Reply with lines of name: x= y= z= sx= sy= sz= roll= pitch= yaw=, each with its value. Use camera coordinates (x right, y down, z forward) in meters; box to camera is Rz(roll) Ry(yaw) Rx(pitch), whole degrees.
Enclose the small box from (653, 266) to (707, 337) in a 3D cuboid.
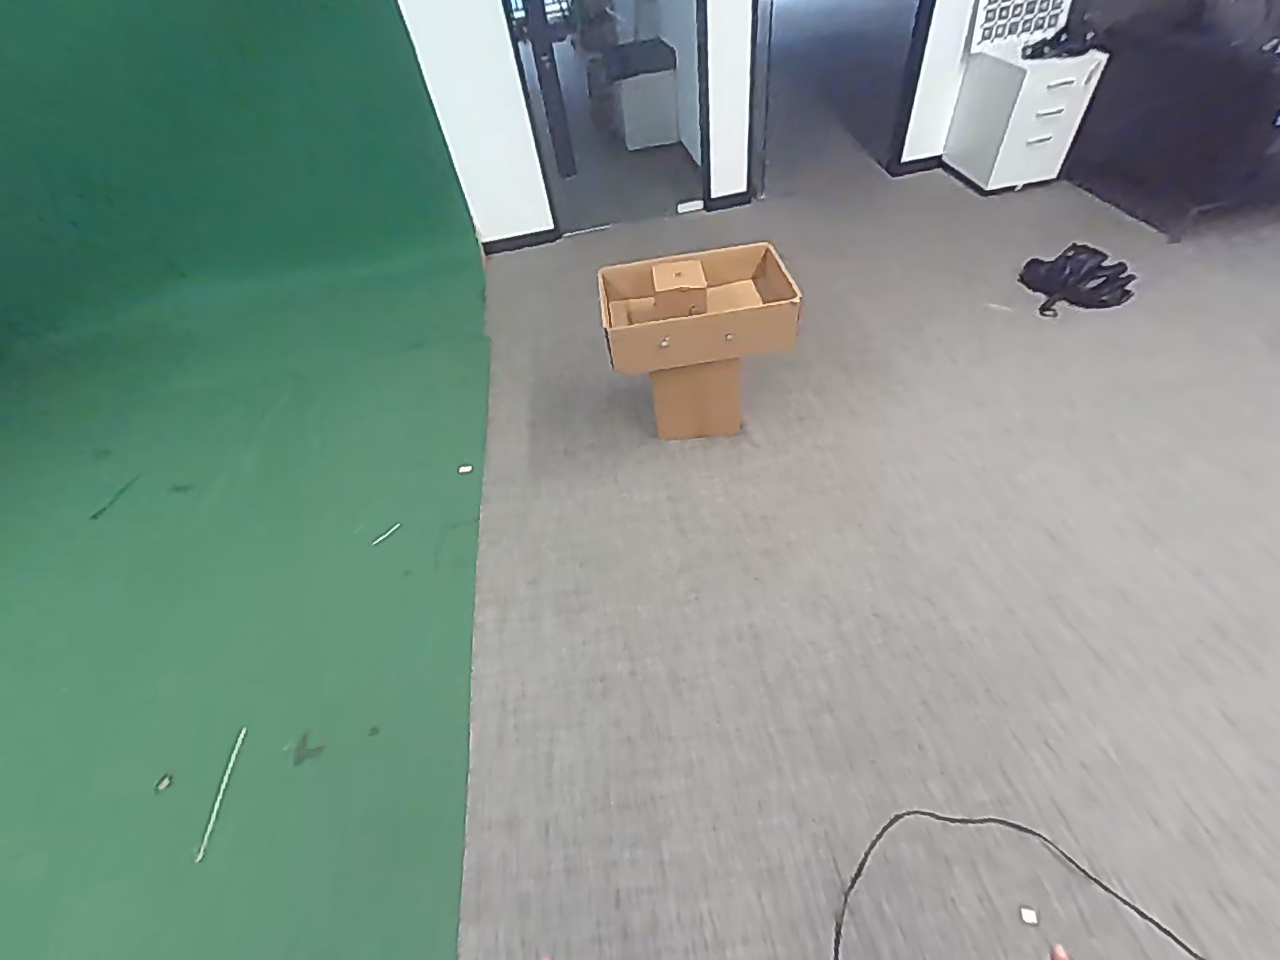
small box: x=0.136 y=-0.597 z=1.831 sx=0.168 sy=0.176 sz=0.179 roll=-6 pitch=46 yaw=1
